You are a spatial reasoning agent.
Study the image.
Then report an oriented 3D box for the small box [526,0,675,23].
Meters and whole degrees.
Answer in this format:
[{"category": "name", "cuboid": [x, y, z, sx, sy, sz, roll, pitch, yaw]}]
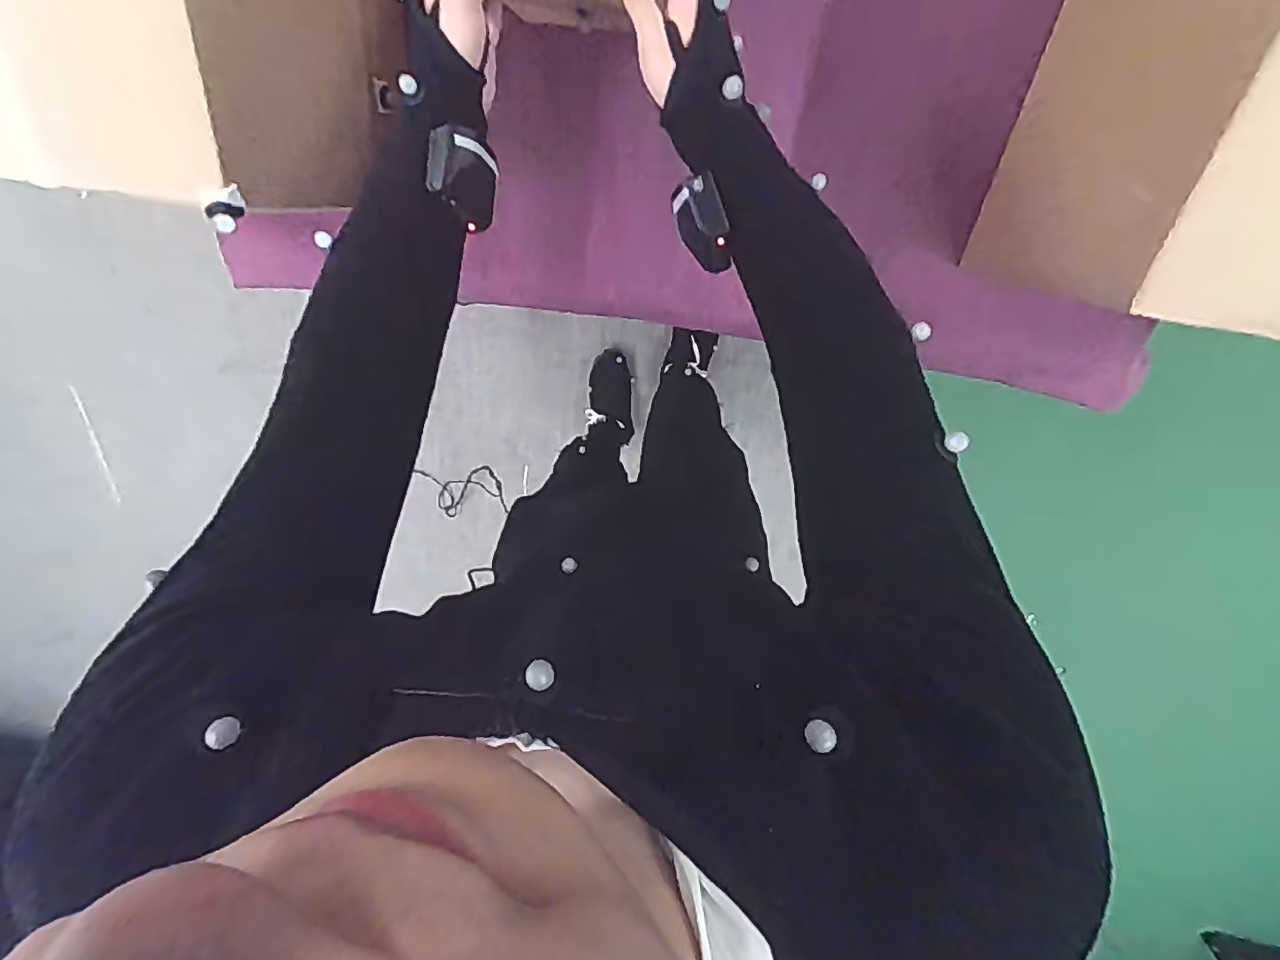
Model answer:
[{"category": "small box", "cuboid": [-0.049, -0.522, 0.451, 0.168, 0.176, 0.179, 9, 119, 5]}]
